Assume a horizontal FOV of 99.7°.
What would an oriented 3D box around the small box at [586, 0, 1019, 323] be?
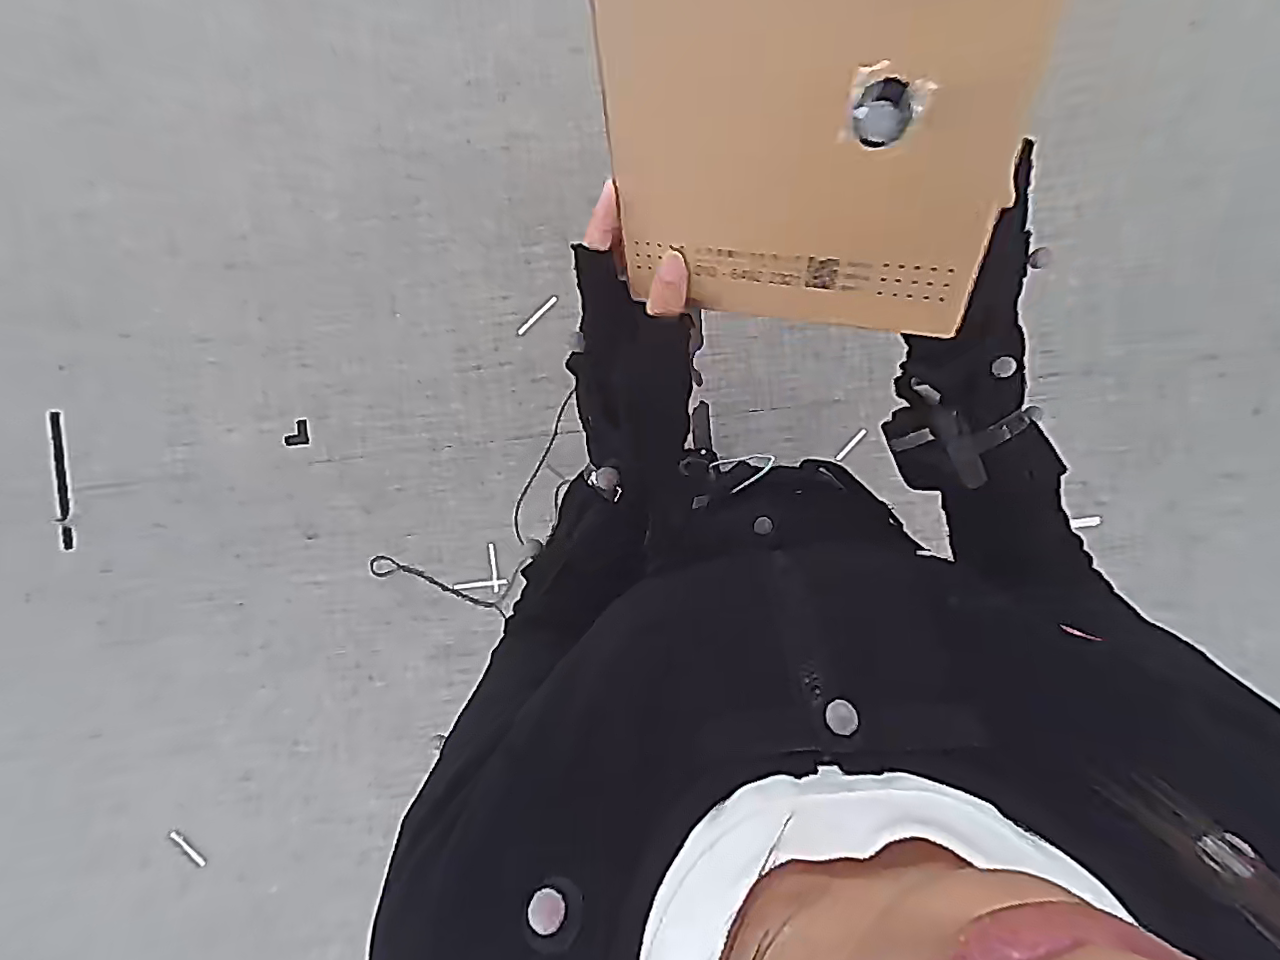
[{"bbox_3d":[0.094,-0.204,0.288,0.168,0.176,0.179,16,50,23],"label":"small box"}]
